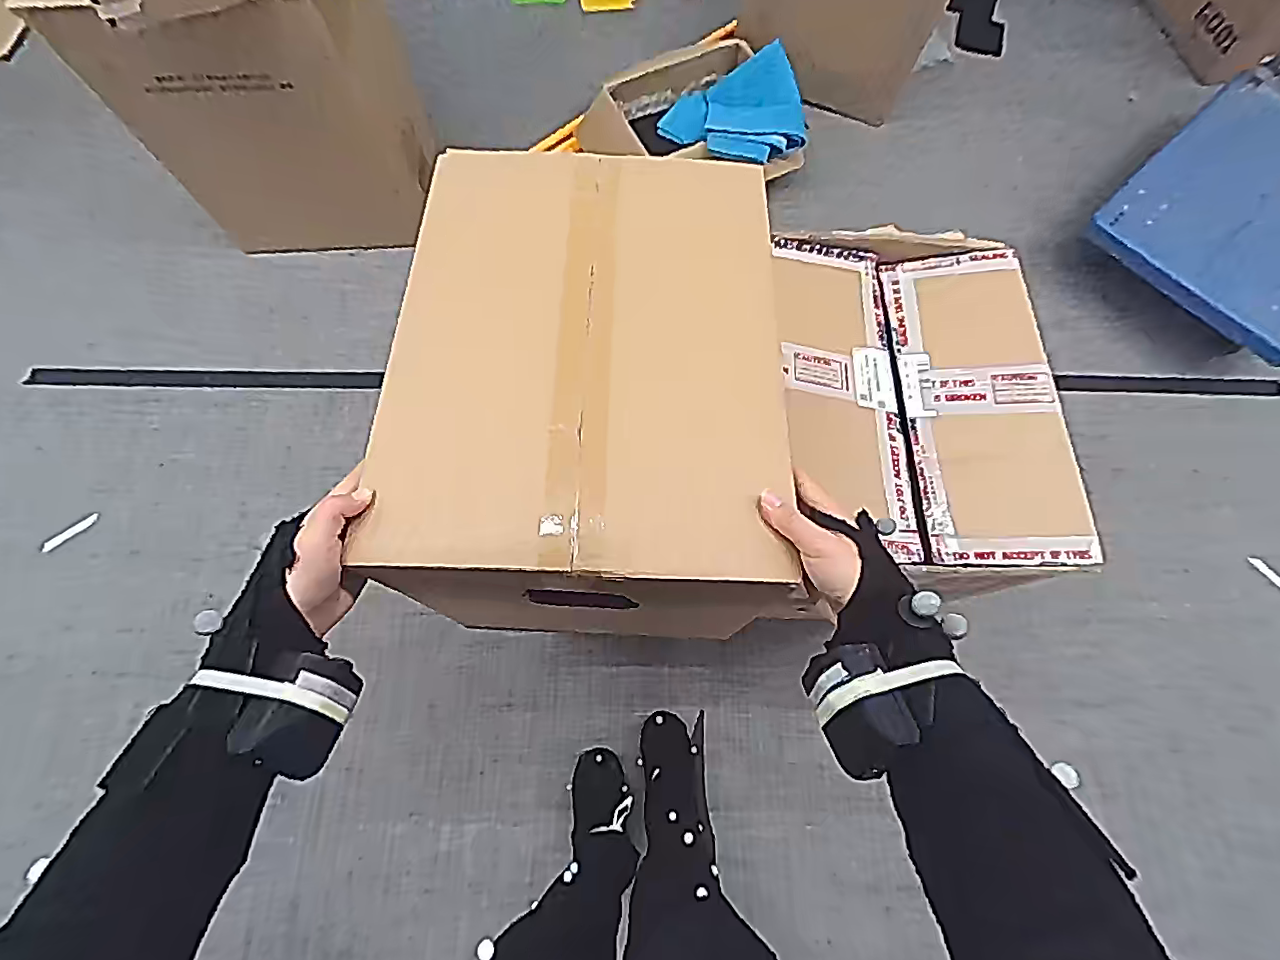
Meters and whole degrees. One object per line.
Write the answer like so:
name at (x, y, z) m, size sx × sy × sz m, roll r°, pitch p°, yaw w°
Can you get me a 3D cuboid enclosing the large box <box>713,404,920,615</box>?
large box at (0.348, 0.079, 1.179) m, size 0.320 × 0.320 × 0.408 m, roll 0°, pitch 72°, yaw -1°
